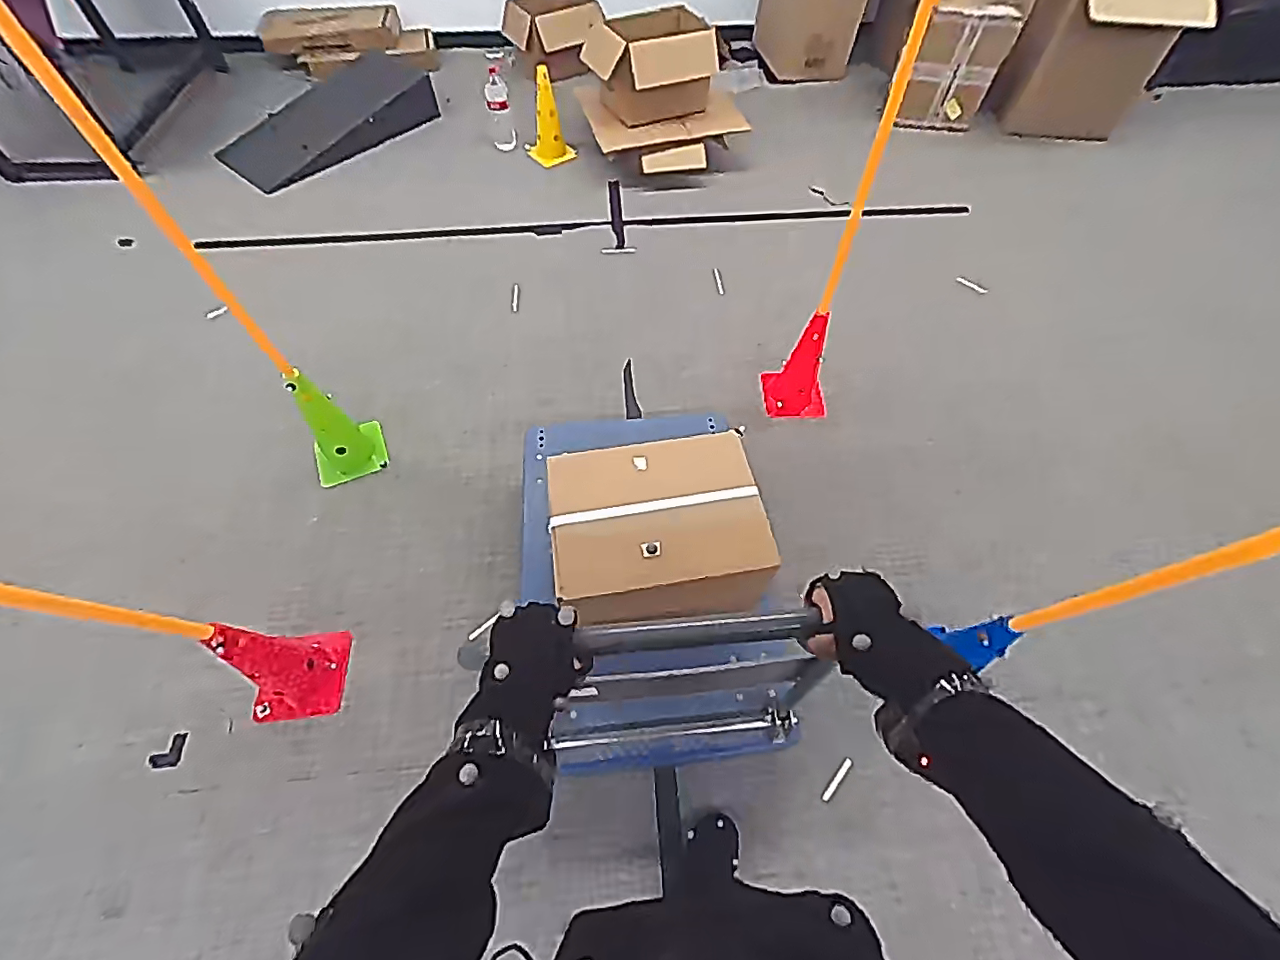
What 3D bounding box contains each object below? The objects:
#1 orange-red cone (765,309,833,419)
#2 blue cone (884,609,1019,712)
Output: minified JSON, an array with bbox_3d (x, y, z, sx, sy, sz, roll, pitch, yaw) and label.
[{"bbox_3d":[0.528,-0.378,1.675,0.199,0.360,0.198,2,58,0],"label":"orange-red cone"},{"bbox_3d":[0.729,0.381,1.213,0.193,0.380,0.192,-7,57,-6],"label":"blue cone"}]
